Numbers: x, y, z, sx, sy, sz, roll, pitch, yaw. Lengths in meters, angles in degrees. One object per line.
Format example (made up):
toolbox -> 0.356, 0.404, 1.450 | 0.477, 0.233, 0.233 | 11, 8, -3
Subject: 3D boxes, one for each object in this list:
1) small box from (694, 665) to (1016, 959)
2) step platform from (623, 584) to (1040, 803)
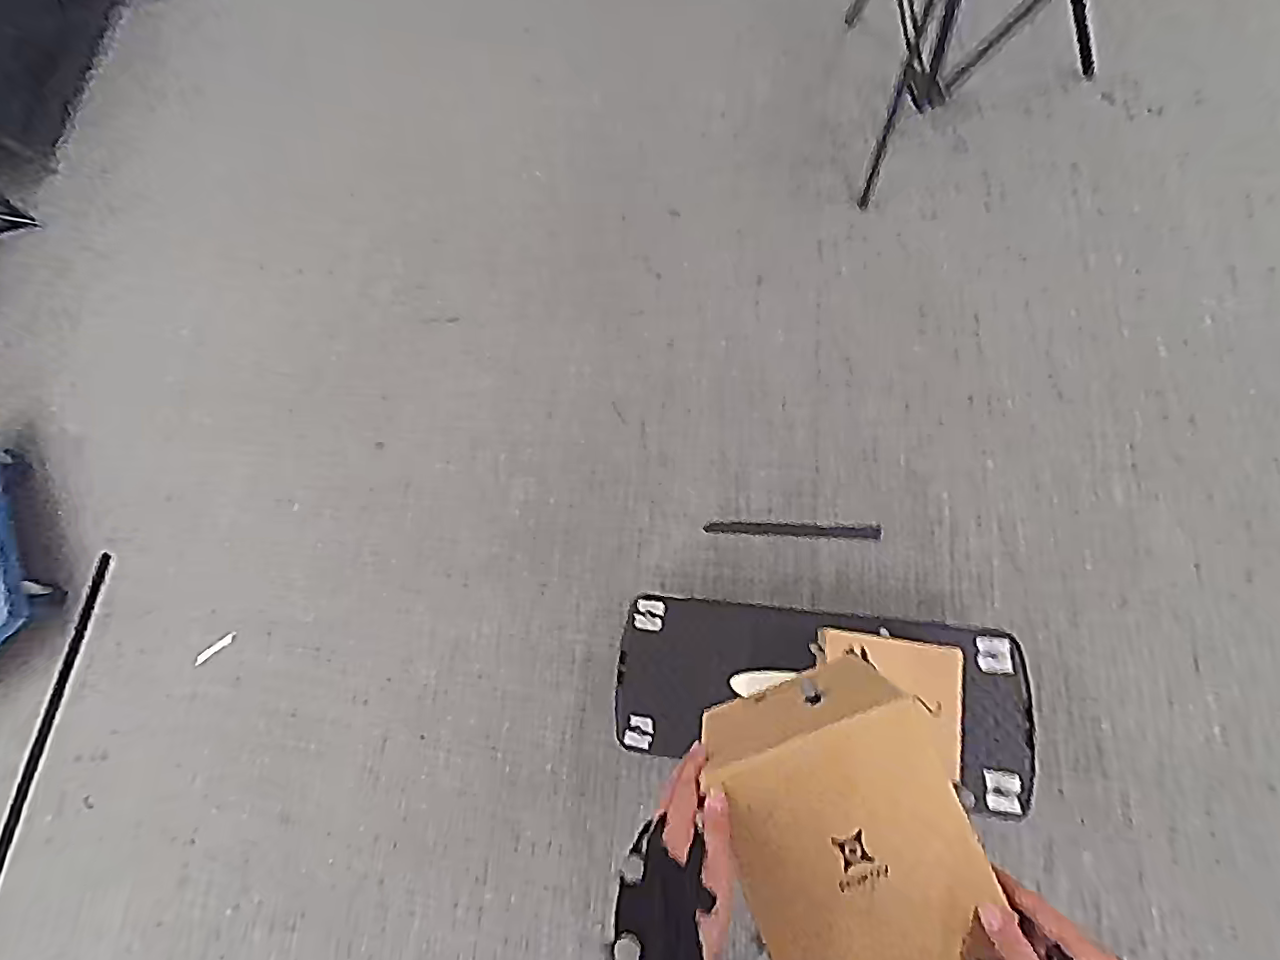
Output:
small box -> 0.152, 0.272, 0.454 | 0.168, 0.176, 0.179 | -24, 81, 3
step platform -> 0.312, 0.364, 0.992 | 0.684, 0.204, 0.286 | 2, 74, 16
